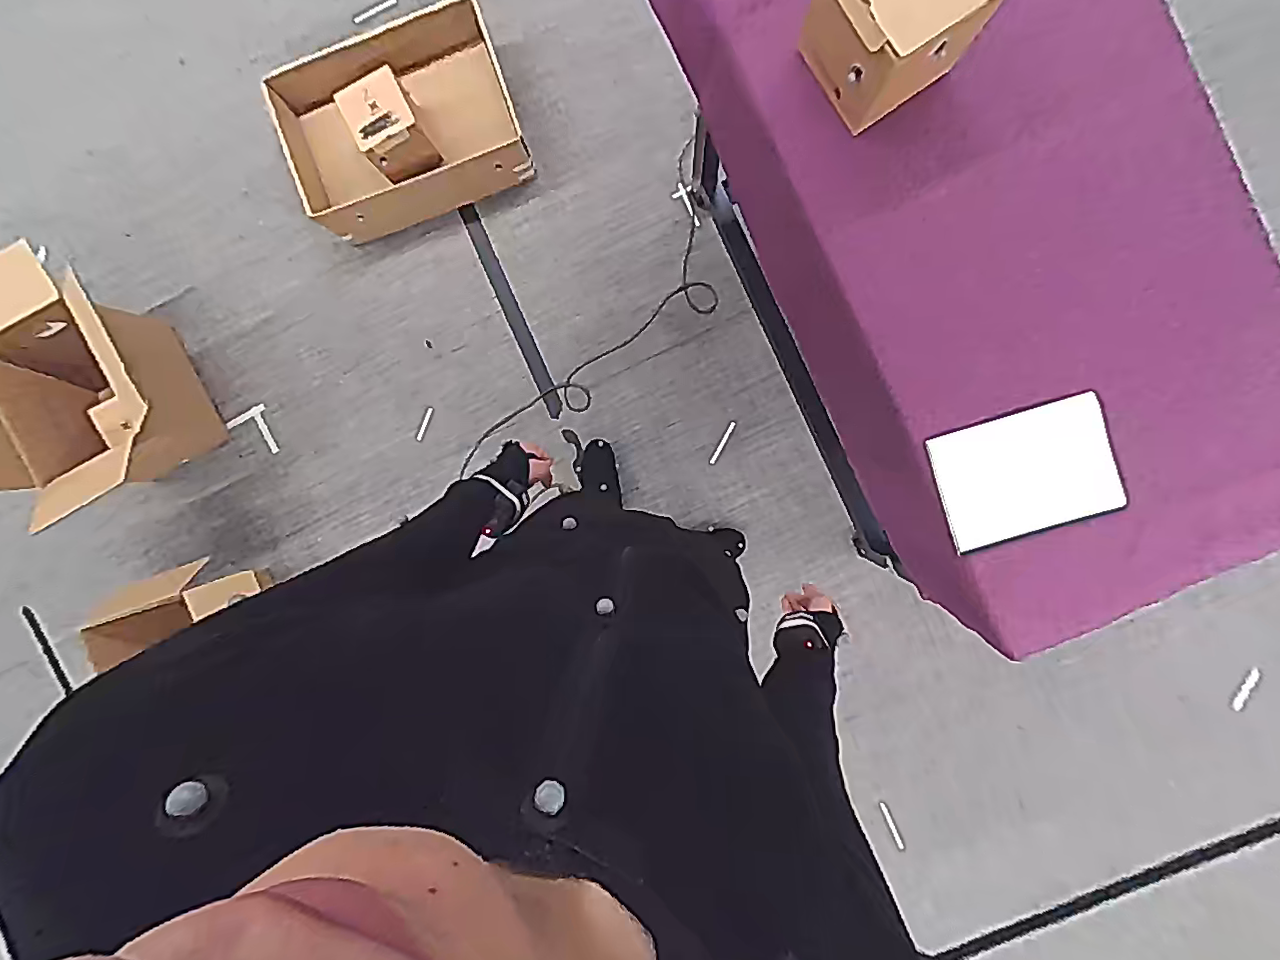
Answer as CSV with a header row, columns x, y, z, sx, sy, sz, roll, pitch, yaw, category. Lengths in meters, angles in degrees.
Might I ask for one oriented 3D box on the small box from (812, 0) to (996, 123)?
x,y,z,sx,sy,sz,roll,pitch,yaw,category
0.360,-0.651,0.751,0.179,0.176,0.168,-33,92,4,small box
